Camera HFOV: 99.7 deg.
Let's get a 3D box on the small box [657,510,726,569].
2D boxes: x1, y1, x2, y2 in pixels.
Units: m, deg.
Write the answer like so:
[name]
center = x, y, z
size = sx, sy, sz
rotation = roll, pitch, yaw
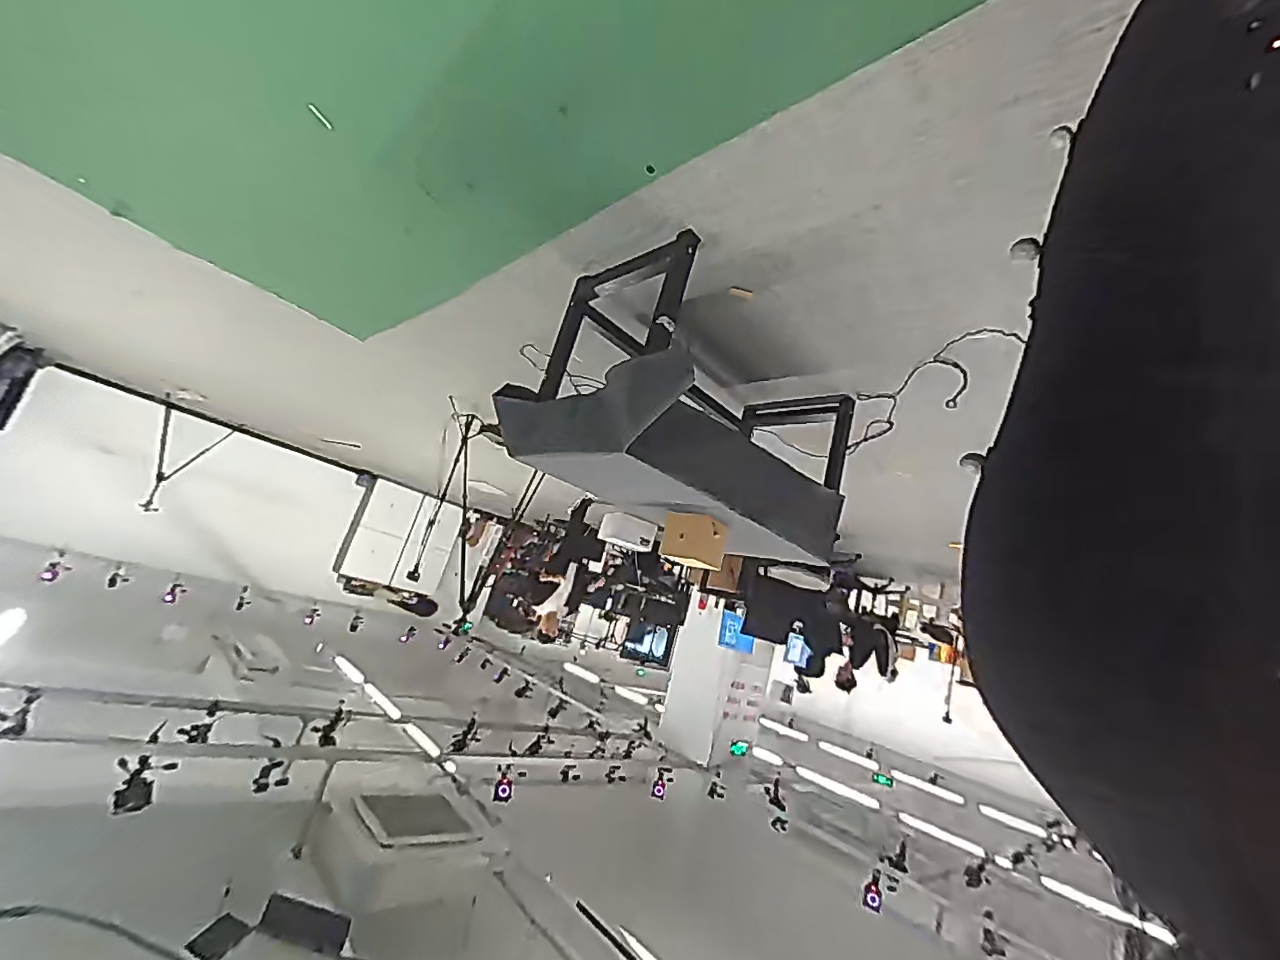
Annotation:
[small box]
center = 0.193, 0.216, 1.999
size = 0.179, 0.176, 0.168
rotation = 1, 160, 46
